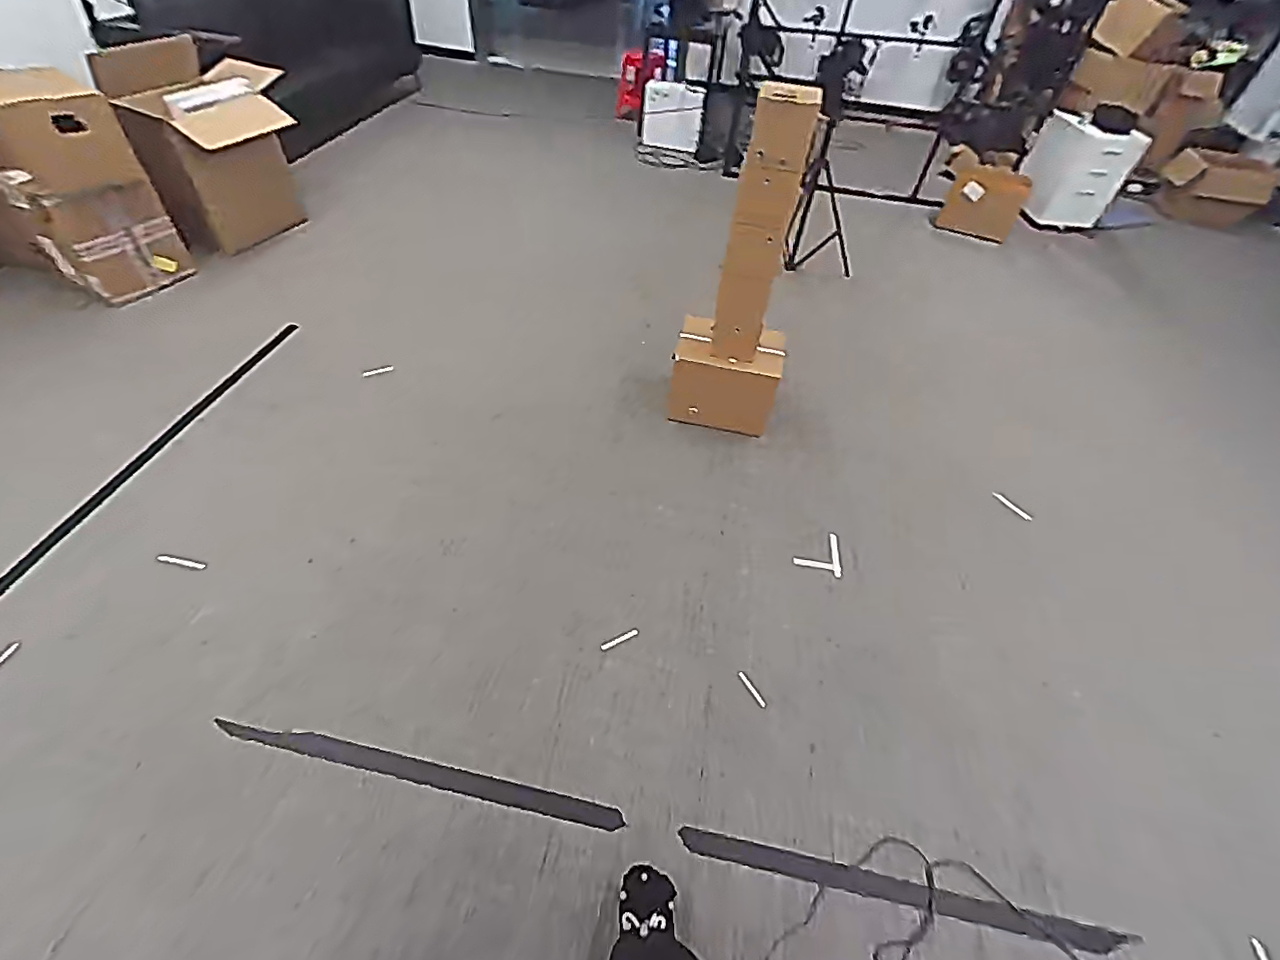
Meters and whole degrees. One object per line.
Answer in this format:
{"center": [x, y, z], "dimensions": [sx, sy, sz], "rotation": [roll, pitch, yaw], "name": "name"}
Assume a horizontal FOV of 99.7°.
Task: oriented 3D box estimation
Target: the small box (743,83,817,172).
{"center": [0.394, -1.001, 1.538], "dimensions": [0.168, 0.176, 0.179], "rotation": [13, 49, 6], "name": "small box"}

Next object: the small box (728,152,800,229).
{"center": [0.381, -0.893, 1.661], "dimensions": [0.179, 0.176, 0.168], "rotation": [13, 50, 7], "name": "small box"}

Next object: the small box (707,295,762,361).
{"center": [0.351, -0.566, 2.026], "dimensions": [0.179, 0.176, 0.168], "rotation": [10, 50, 3], "name": "small box"}

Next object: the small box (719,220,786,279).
{"center": [0.371, -0.785, 1.781], "dimensions": [0.179, 0.176, 0.168], "rotation": [13, 49, 6], "name": "small box"}
